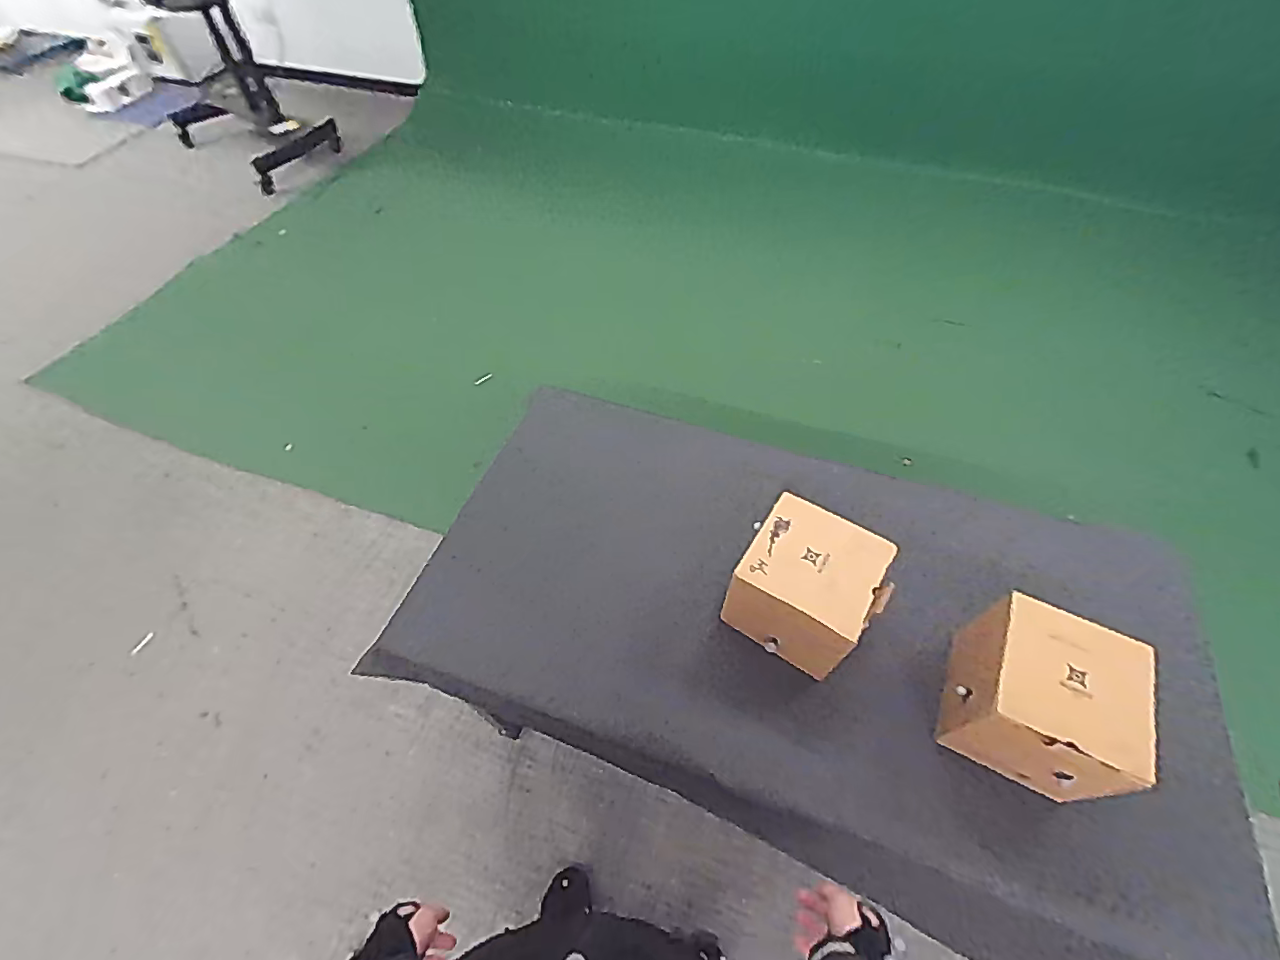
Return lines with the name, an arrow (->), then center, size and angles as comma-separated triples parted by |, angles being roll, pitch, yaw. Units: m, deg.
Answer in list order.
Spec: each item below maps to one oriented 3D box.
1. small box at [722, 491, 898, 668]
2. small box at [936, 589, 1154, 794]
small box -> 0.242, 0.155, 0.803 | 0.179, 0.176, 0.168 | 29, 59, 19
small box -> 0.518, 0.282, 0.711 | 0.168, 0.176, 0.179 | 24, 57, 15
